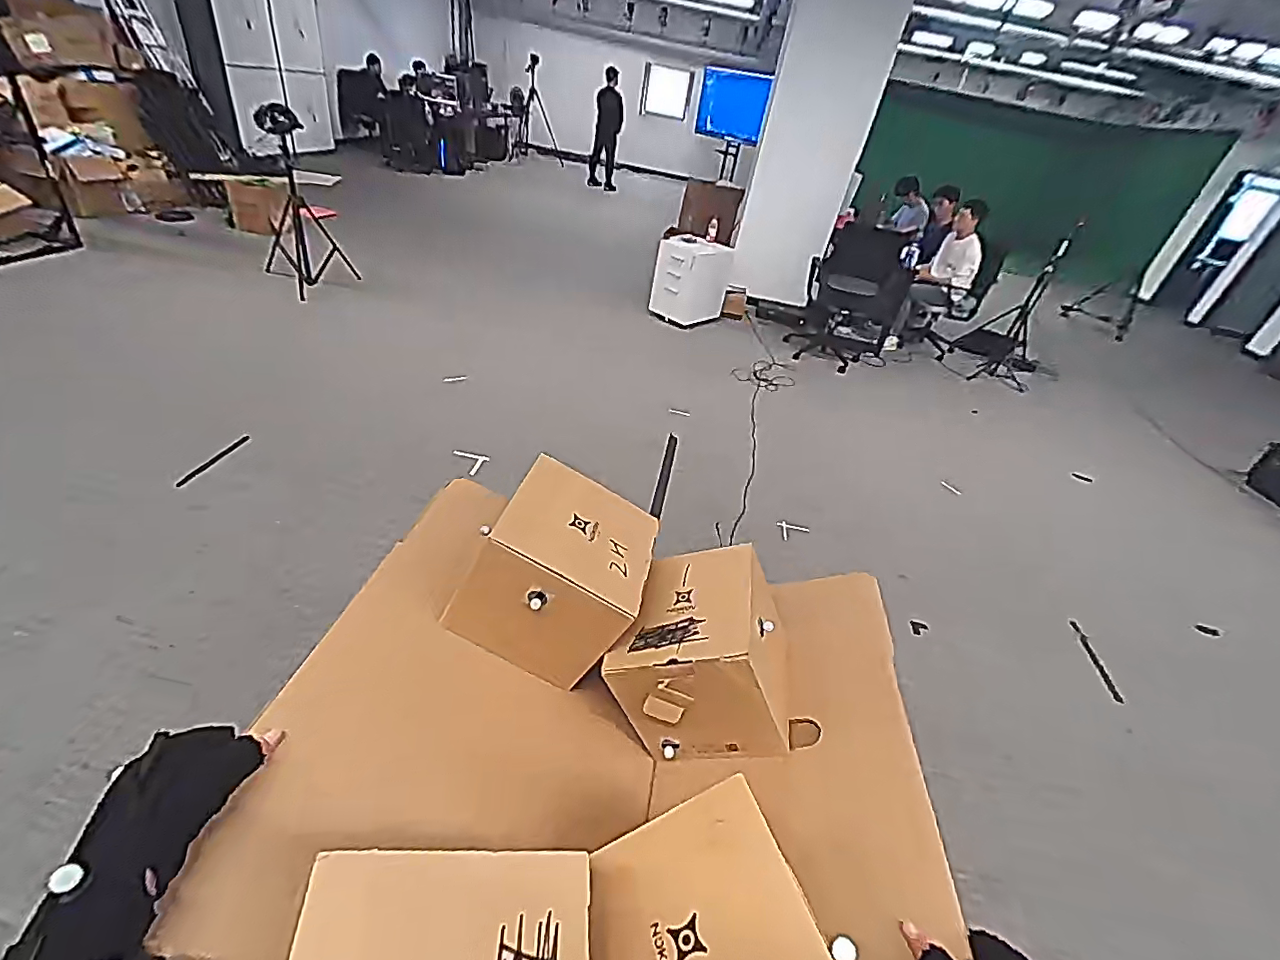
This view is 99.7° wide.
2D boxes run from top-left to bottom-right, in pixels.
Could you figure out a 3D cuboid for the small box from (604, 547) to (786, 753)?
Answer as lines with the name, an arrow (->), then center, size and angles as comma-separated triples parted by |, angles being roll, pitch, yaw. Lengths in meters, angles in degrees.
small box -> 0.079, 0.212, 0.662 | 0.168, 0.176, 0.179 | -13, 28, 21
